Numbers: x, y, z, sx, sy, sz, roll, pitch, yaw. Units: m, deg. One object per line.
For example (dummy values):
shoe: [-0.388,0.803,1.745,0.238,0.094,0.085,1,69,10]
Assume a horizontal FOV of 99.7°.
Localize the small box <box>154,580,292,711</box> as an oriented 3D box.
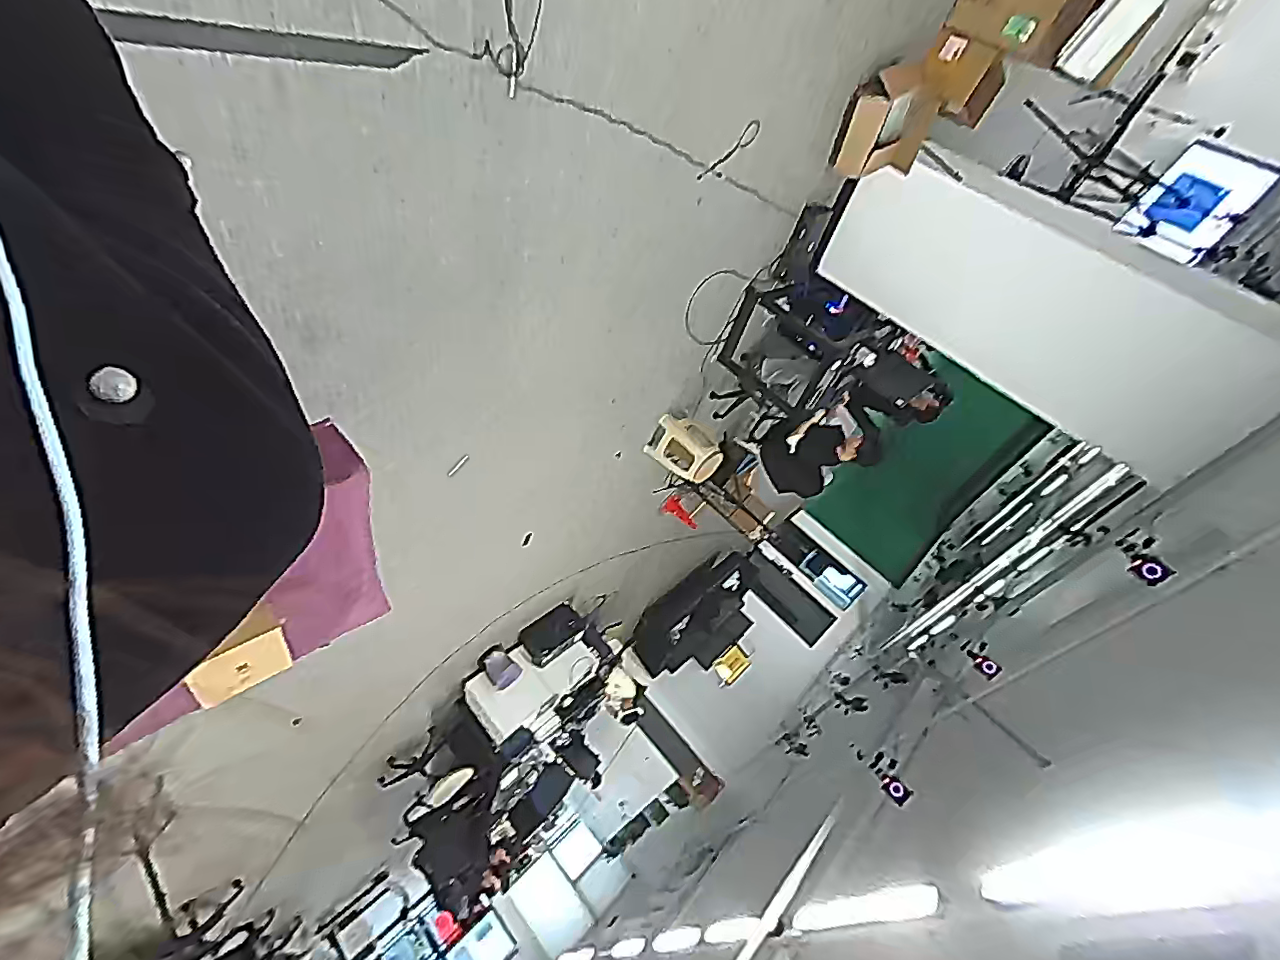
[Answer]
small box: [-0.860,0.332,1.121,0.168,0.176,0.179,-27,151,-40]
